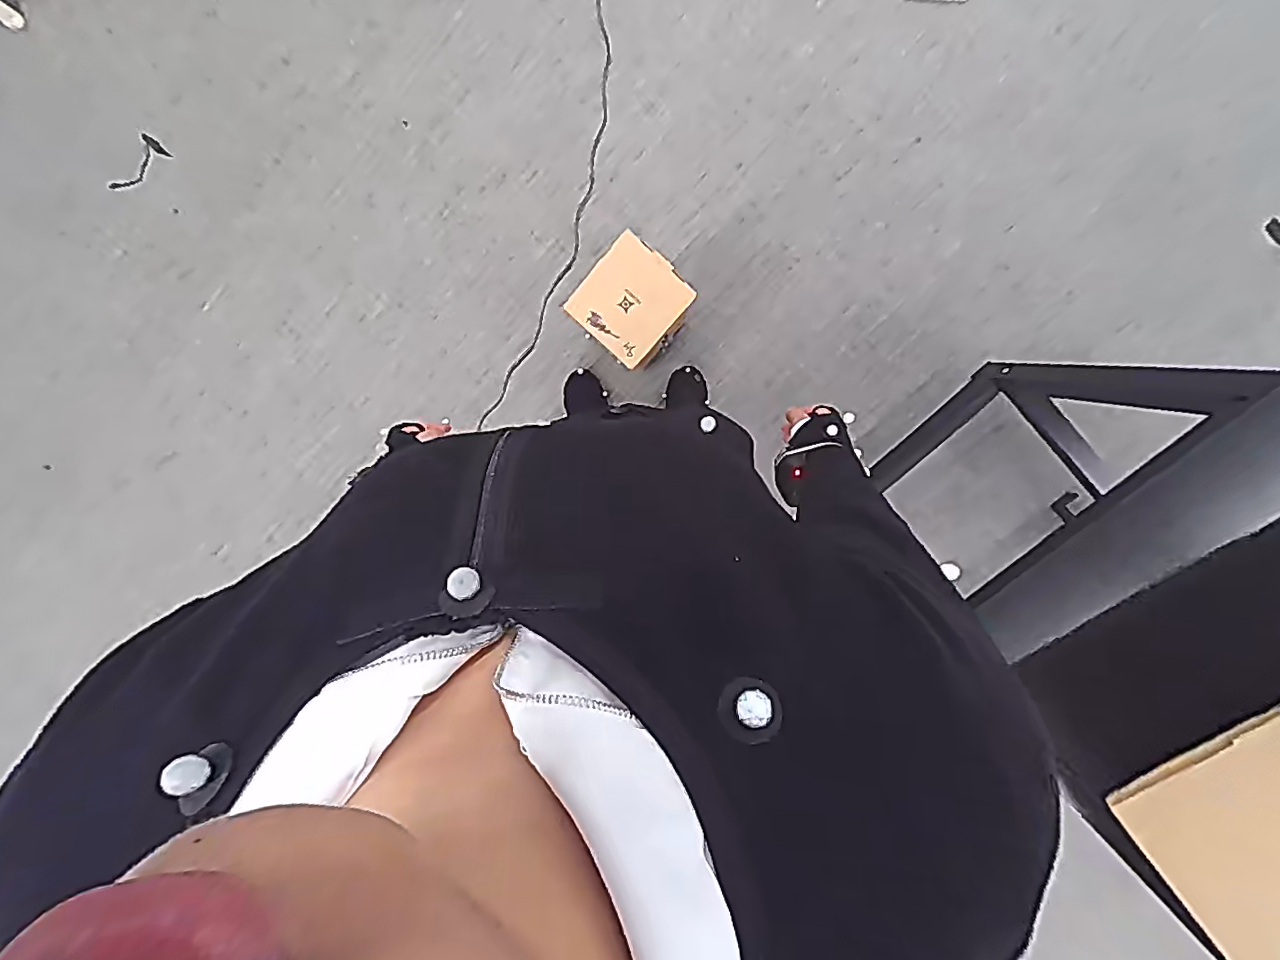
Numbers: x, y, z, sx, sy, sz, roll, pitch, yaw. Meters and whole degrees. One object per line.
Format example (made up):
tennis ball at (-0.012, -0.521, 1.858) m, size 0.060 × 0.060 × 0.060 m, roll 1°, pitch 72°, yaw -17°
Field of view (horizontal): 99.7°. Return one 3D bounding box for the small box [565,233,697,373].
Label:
small box at (-0.015, -0.321, 1.016) m, size 0.168 × 0.176 × 0.179 m, roll 42°, pitch 100°, yaw -5°
